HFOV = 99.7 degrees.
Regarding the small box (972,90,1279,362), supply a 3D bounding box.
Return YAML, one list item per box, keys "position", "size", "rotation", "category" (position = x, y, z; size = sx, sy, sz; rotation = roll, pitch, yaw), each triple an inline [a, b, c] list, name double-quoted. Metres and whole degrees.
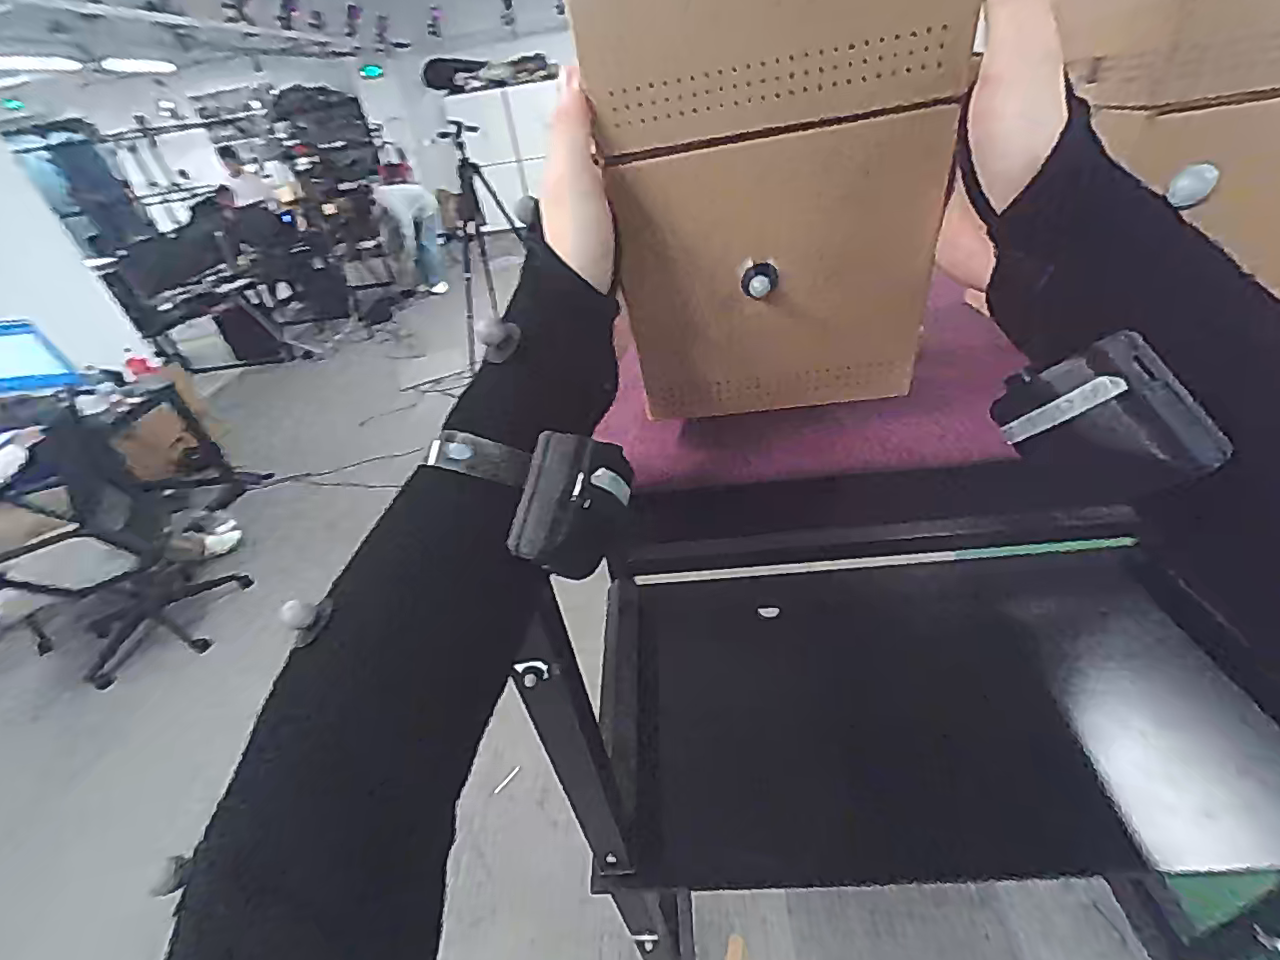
- position: [0.394, -0.204, 0.430]
  size: [0.179, 0.176, 0.168]
  rotation: [-6, 35, 4]
  category: "small box"
